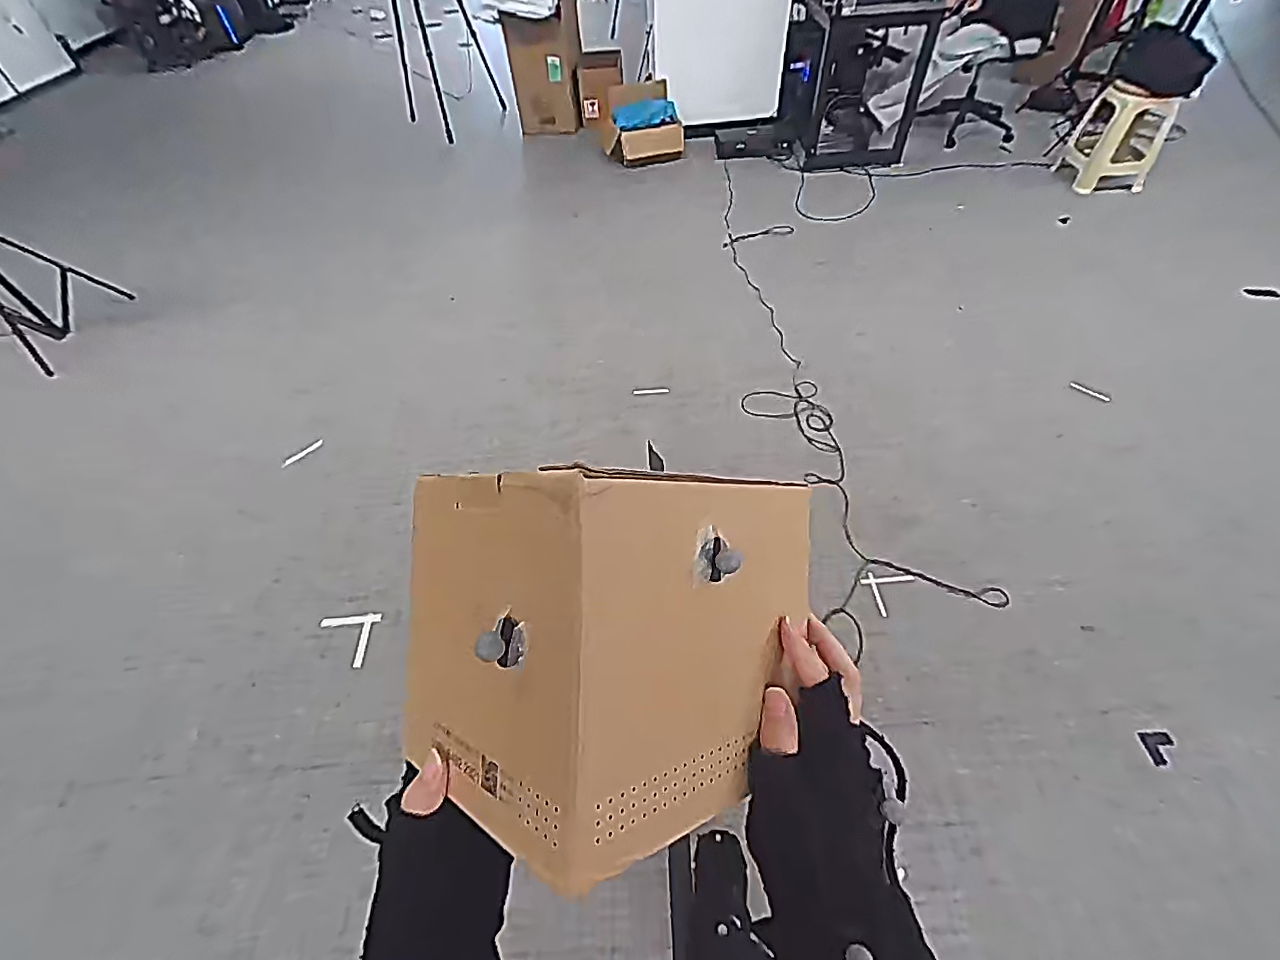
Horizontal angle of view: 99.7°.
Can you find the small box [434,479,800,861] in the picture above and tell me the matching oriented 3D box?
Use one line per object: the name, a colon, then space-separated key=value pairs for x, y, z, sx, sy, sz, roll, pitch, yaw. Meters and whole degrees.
small box: x=-0.014 y=0.090 z=0.338 sx=0.168 sy=0.179 sz=0.176 roll=-2 pitch=86 yaw=47
